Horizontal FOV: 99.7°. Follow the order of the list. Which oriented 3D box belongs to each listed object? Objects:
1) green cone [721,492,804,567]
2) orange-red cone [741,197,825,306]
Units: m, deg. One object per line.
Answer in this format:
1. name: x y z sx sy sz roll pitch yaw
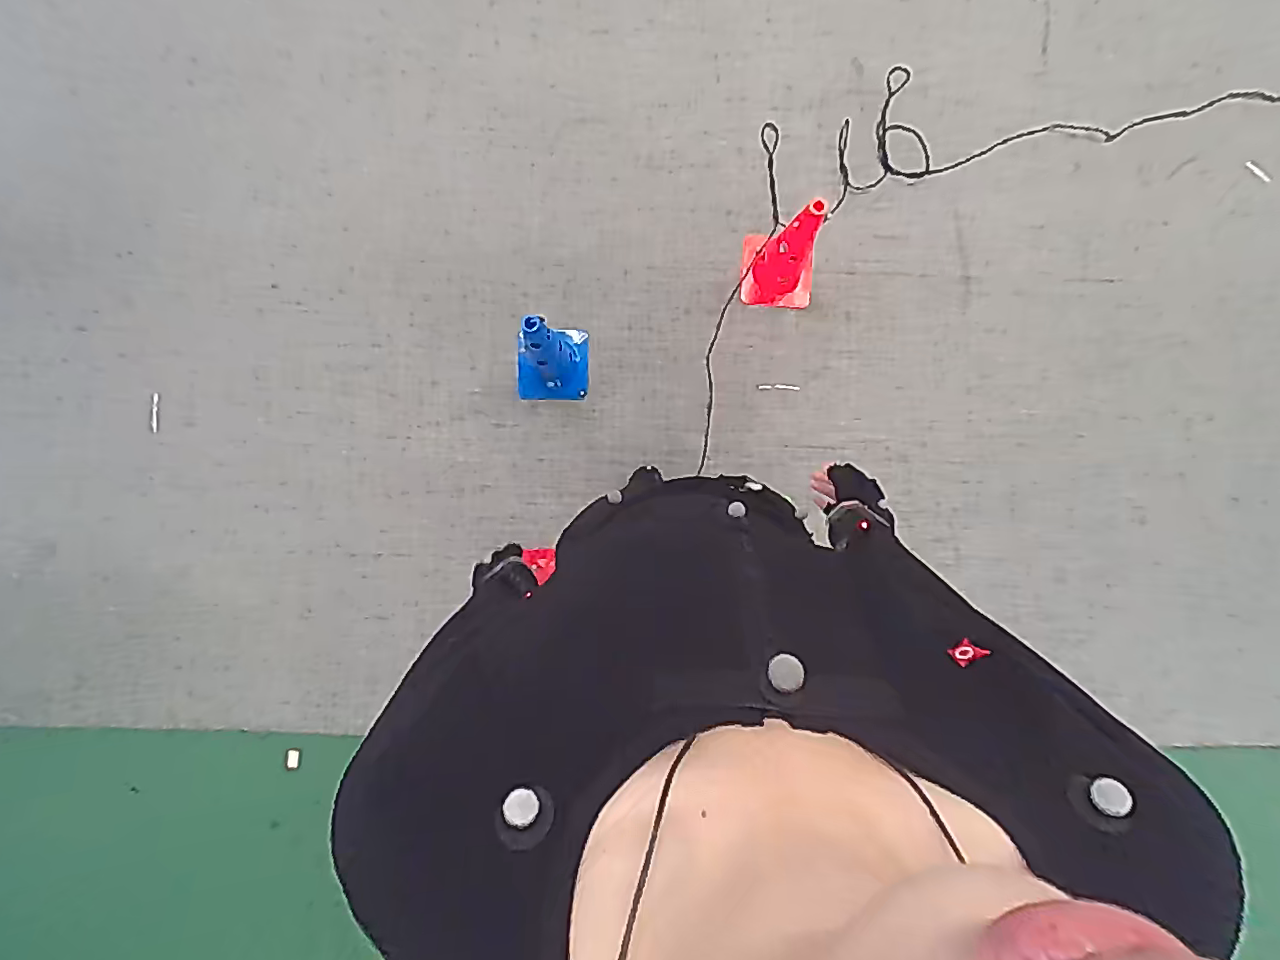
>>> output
1. green cone: 0.333 0.129 1.334 0.200 0.368 0.202 4 87 -1
2. orange-red cone: 0.392 -0.600 1.364 0.198 0.360 0.199 6 89 1
